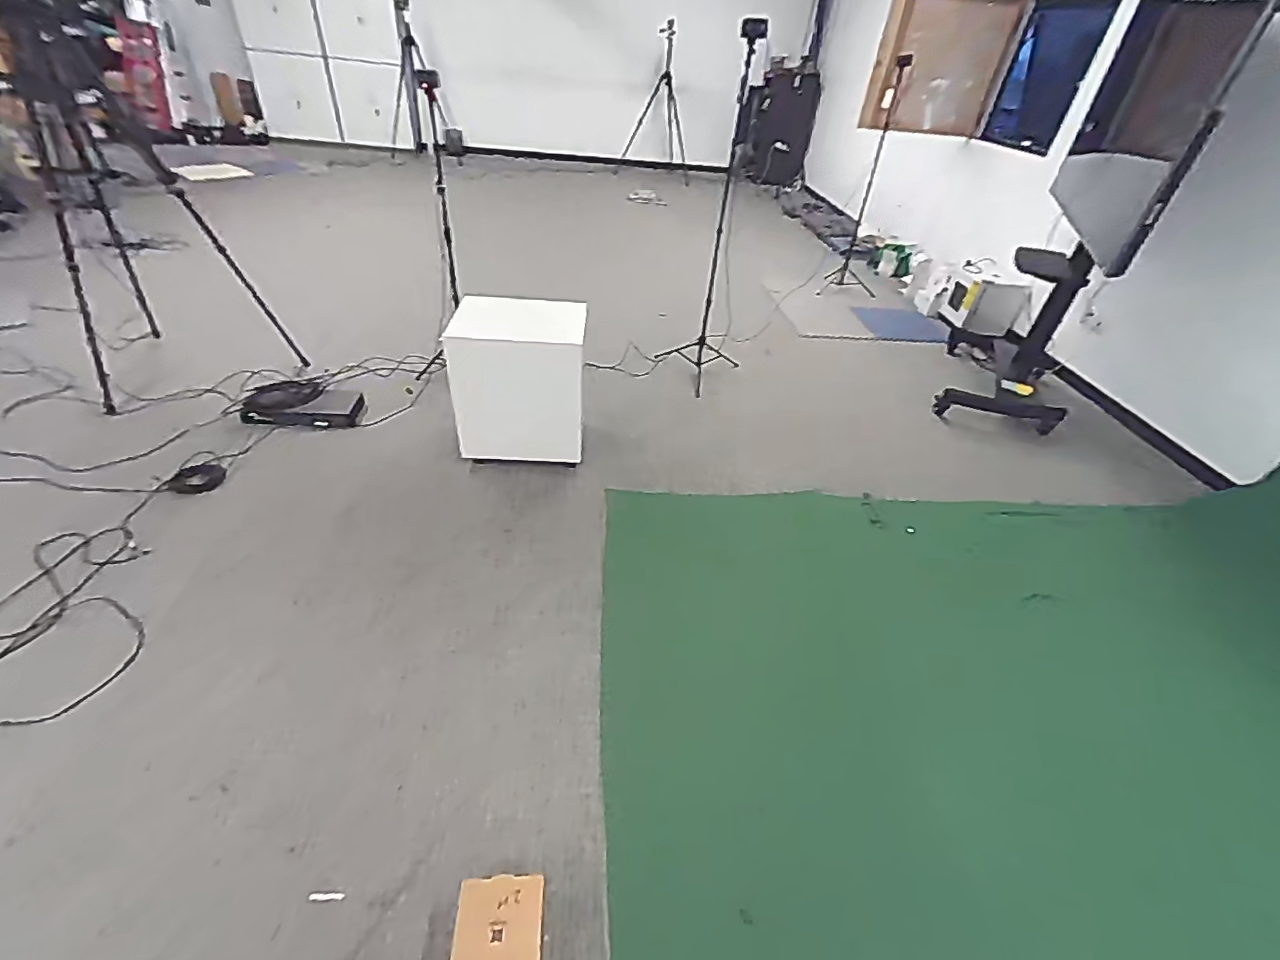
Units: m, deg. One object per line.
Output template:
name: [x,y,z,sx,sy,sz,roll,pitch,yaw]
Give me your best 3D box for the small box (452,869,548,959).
small box: [-0.275,0.913,1.089,0.168,0.176,0.179,2,40,-7]
